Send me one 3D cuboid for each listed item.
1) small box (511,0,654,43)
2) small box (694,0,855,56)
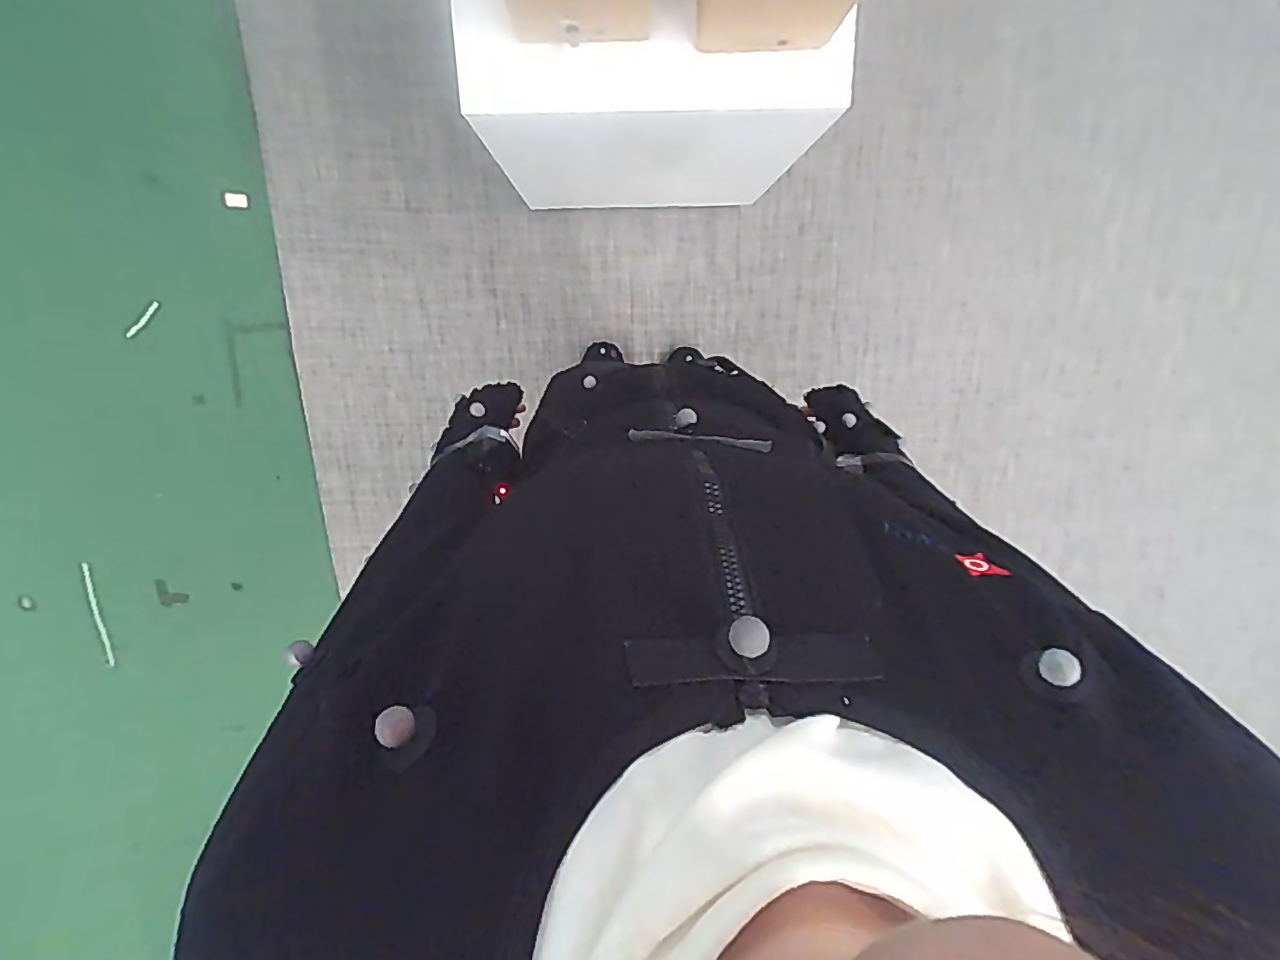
[{"bbox_3d":[-0.069,-0.607,0.569,0.168,0.176,0.179,-4,106,0],"label":"small box"},{"bbox_3d":[0.150,-0.607,0.589,0.168,0.176,0.179,-2,104,-1],"label":"small box"}]
